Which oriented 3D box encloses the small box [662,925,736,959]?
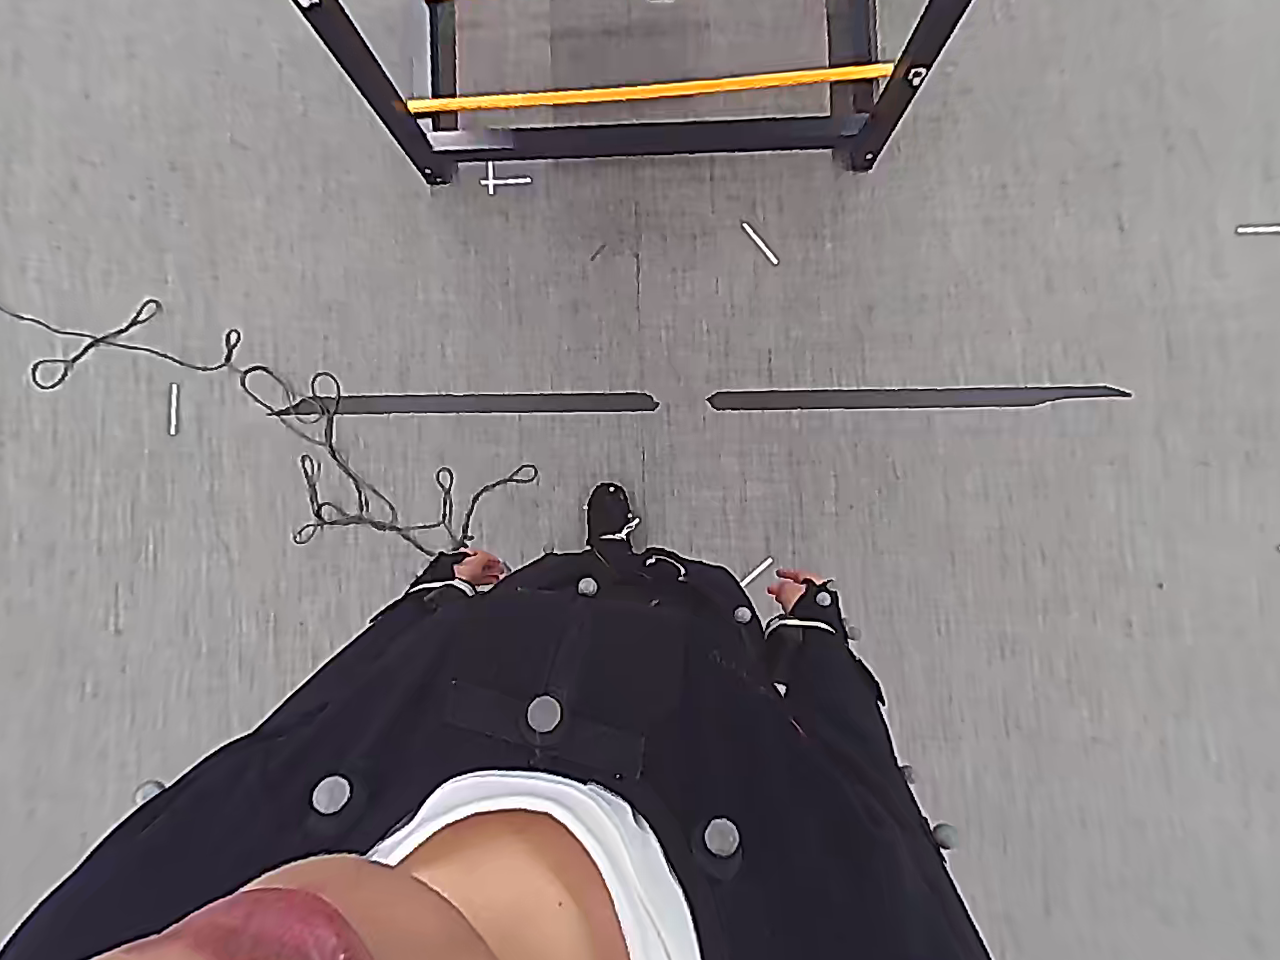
[{"bbox_3d":[0.140,1.196,1.275,0.179,0.176,0.168,-3,87,1],"label":"small box"}]
